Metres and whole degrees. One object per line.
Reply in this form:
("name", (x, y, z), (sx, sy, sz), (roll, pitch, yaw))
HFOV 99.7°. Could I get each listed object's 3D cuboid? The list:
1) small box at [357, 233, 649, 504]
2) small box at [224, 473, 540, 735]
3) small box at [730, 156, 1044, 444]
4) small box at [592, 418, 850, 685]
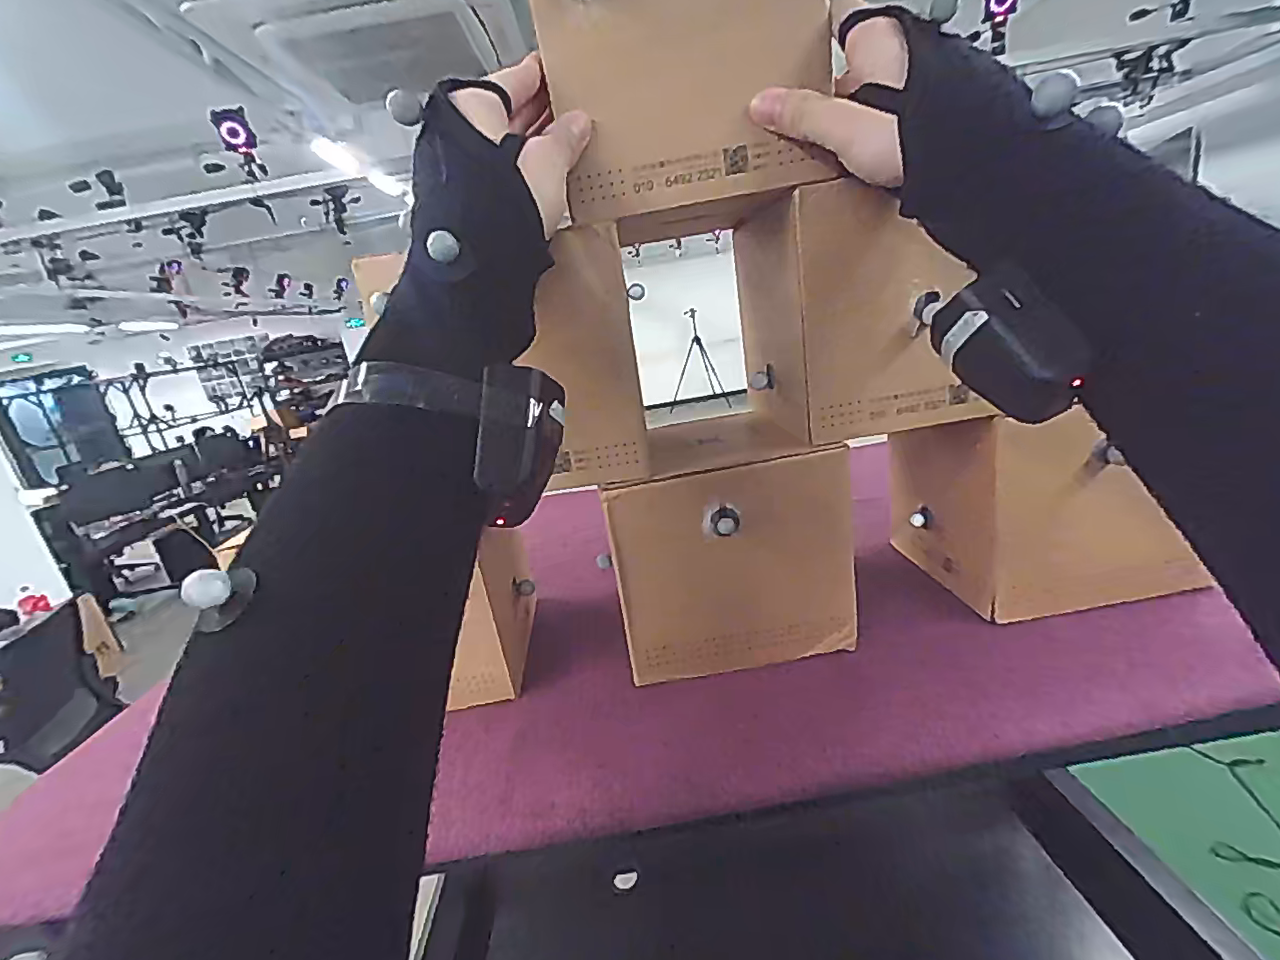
("small box", (-0.086, -0.084, 0.436), (0.168, 0.176, 0.179), (-8, 17, 1))
("small box", (-0.200, 0.095, 0.478), (0.179, 0.176, 0.168), (-11, 18, -1))
("small box", (0.179, -0.129, 0.433), (0.168, 0.176, 0.179), (-10, 17, 0))
("small box", (0.064, 0.053, 0.468), (0.179, 0.176, 0.168), (-10, 17, 1))
